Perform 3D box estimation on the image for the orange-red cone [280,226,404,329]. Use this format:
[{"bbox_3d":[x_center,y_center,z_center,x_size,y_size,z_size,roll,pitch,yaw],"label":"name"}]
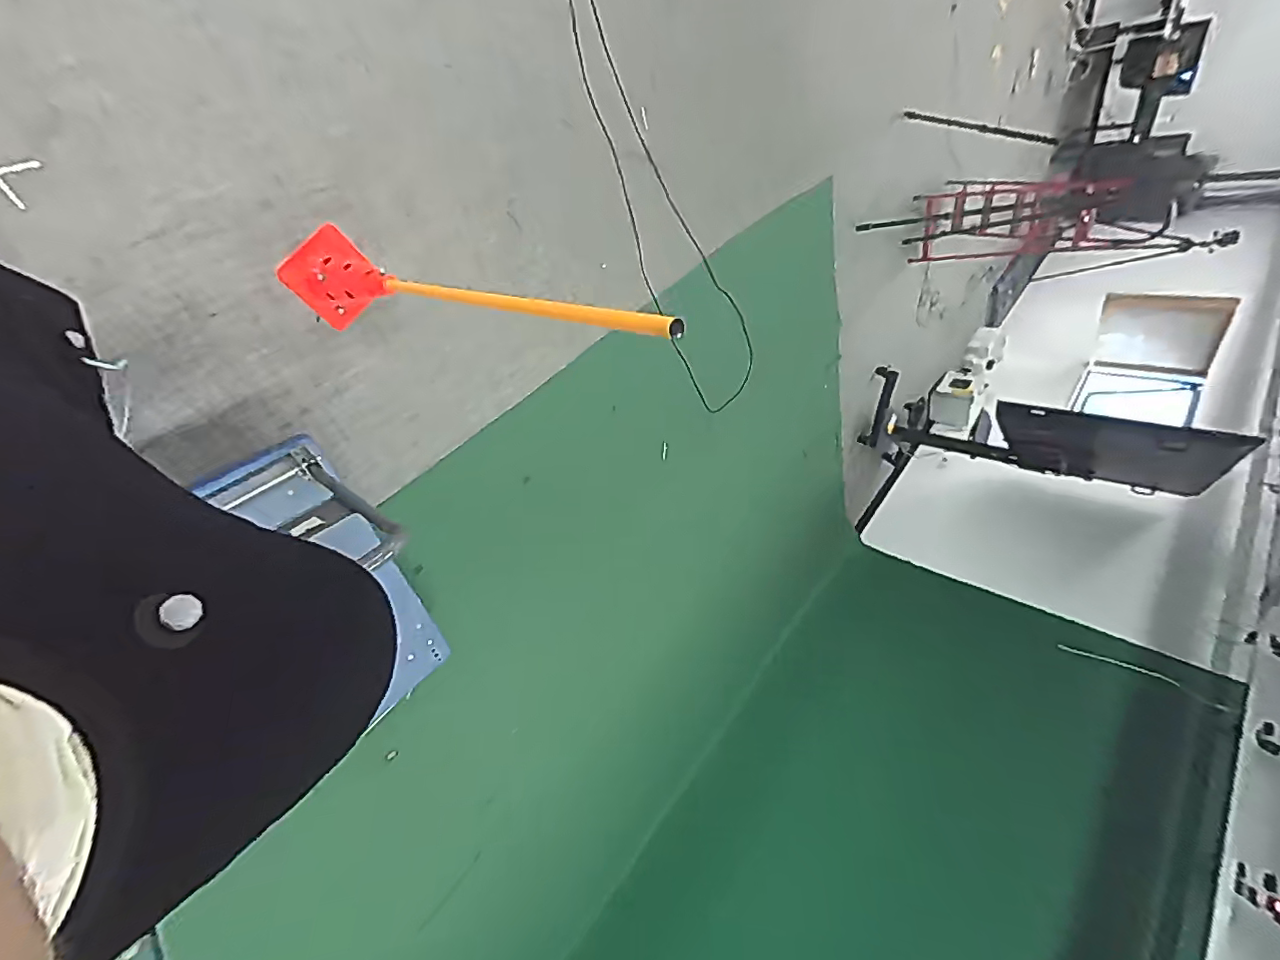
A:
[{"bbox_3d":[-0.667,-0.479,1.300,0.199,0.360,0.198,-56,140,-17],"label":"orange-red cone"}]
